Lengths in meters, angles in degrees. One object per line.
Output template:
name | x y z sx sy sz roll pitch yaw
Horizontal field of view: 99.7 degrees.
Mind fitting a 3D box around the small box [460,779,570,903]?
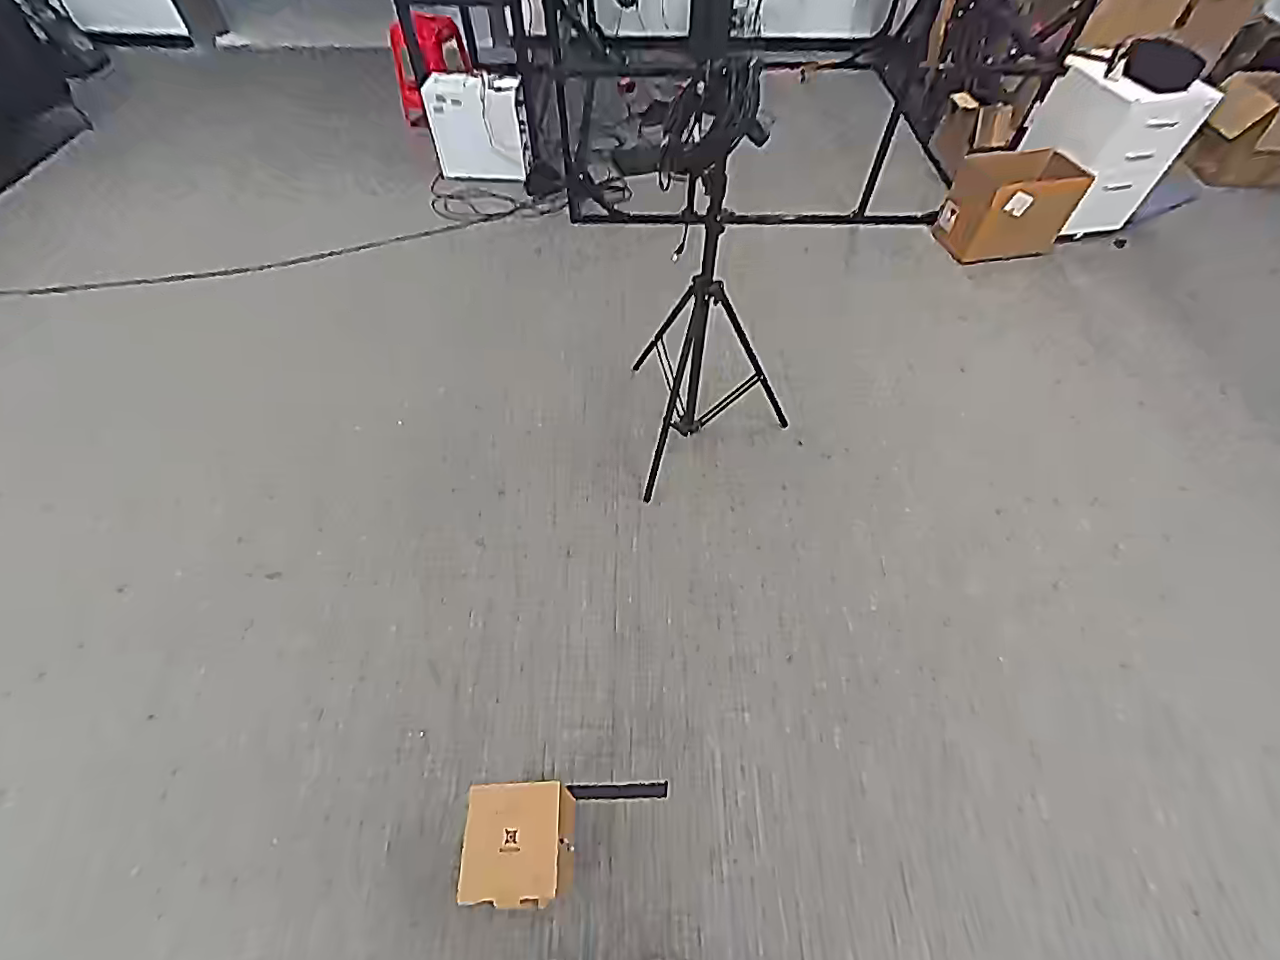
small box | -0.221 0.668 1.007 0.168 0.176 0.179 -2 54 -2

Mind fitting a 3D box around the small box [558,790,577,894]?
small box | -0.223 0.762 1.139 0.168 0.176 0.179 -1 54 -1
